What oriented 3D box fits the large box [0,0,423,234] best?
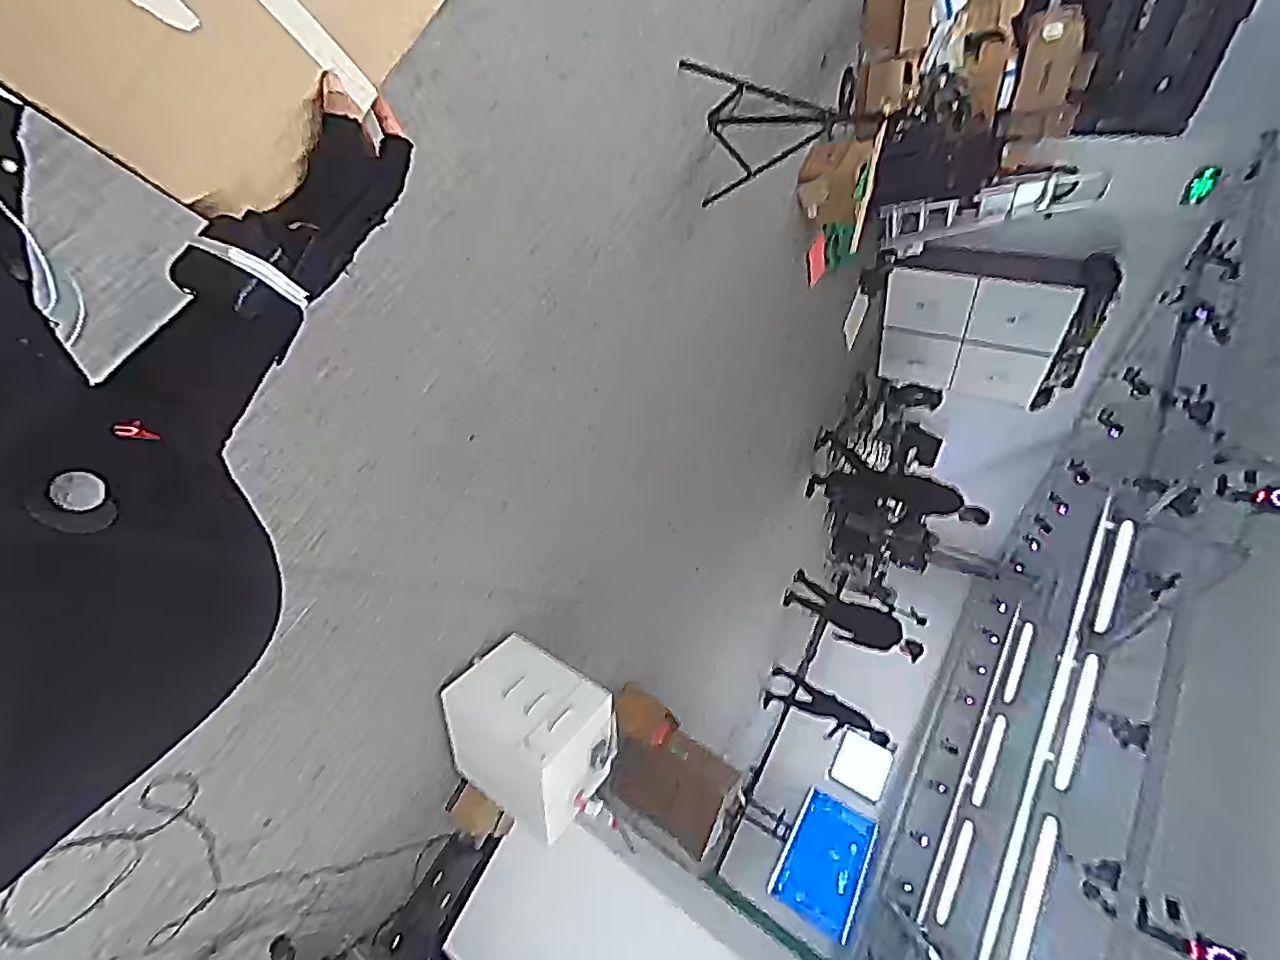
[{"bbox_3d":[-0.430,-0.456,0.360,0.320,0.320,0.408,-56,152,-1],"label":"large box"}]
